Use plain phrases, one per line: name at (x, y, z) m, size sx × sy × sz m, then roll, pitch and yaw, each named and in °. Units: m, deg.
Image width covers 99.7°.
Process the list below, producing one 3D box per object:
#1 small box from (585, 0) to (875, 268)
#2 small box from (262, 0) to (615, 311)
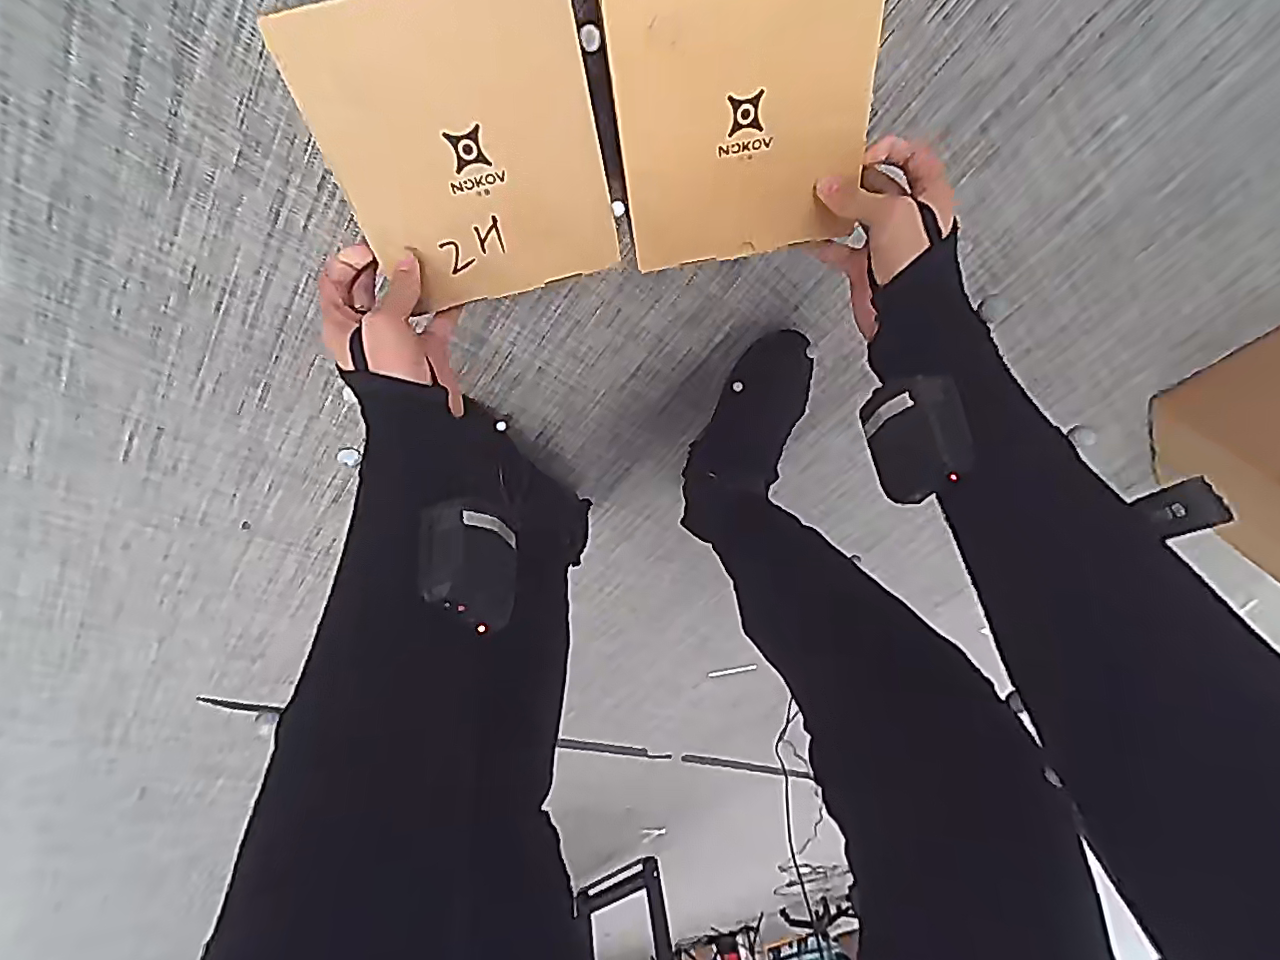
small box at (0.055, -0.292, 0.409) m, size 0.168 × 0.176 × 0.179 m, roll -10°, pitch 135°, yaw 2°
small box at (-0.125, -0.258, 0.402) m, size 0.168 × 0.176 × 0.179 m, roll -14°, pitch 135°, yaw -1°
